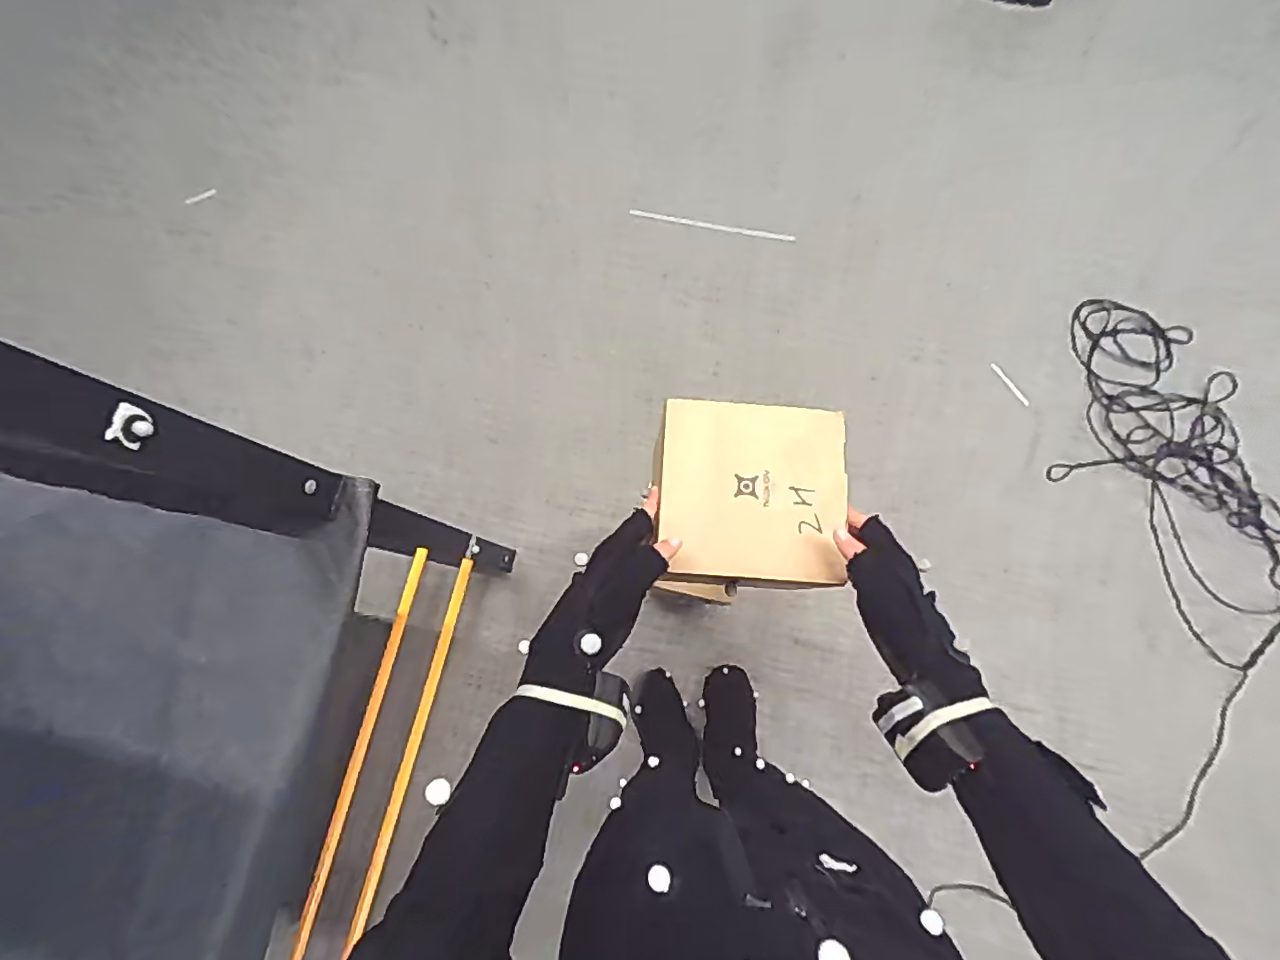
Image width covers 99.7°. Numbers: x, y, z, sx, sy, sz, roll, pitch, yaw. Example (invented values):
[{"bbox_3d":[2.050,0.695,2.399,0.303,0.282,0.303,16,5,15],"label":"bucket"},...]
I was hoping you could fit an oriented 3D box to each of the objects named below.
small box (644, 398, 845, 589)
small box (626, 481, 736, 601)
[{"bbox_3d":[0.098,0.024,0.569,0.179,0.176,0.168,5,79,-1],"label":"small box"},{"bbox_3d":[0.084,0.114,0.942,0.179,0.176,0.168,12,79,6],"label":"small box"}]
